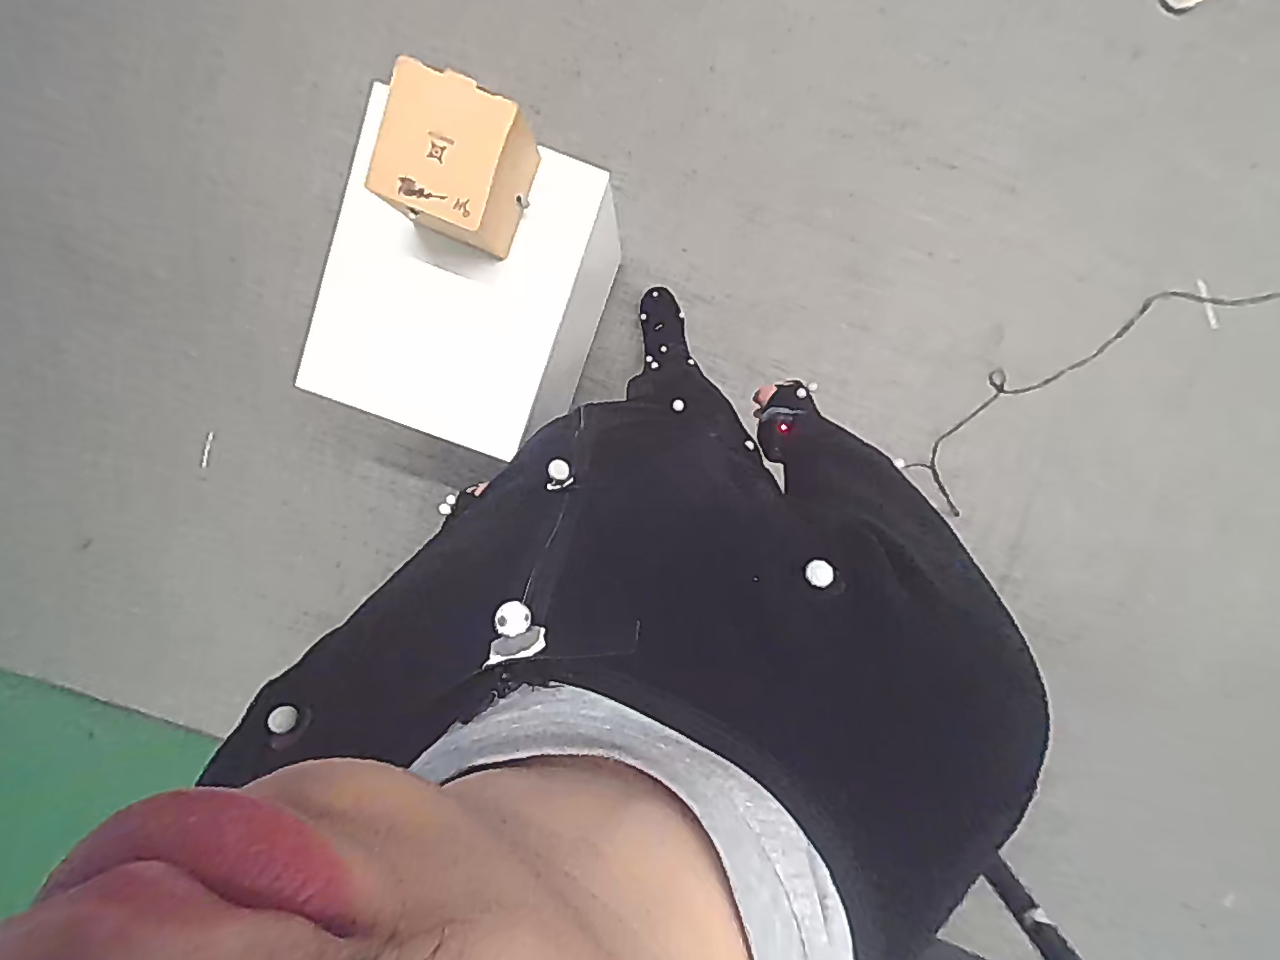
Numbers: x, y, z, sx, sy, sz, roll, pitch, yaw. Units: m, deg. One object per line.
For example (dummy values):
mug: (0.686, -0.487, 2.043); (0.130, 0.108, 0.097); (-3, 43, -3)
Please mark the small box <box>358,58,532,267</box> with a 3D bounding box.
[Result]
small box: (-0.264, -0.436, 0.775); (0.168, 0.176, 0.179); (20, 97, -5)
